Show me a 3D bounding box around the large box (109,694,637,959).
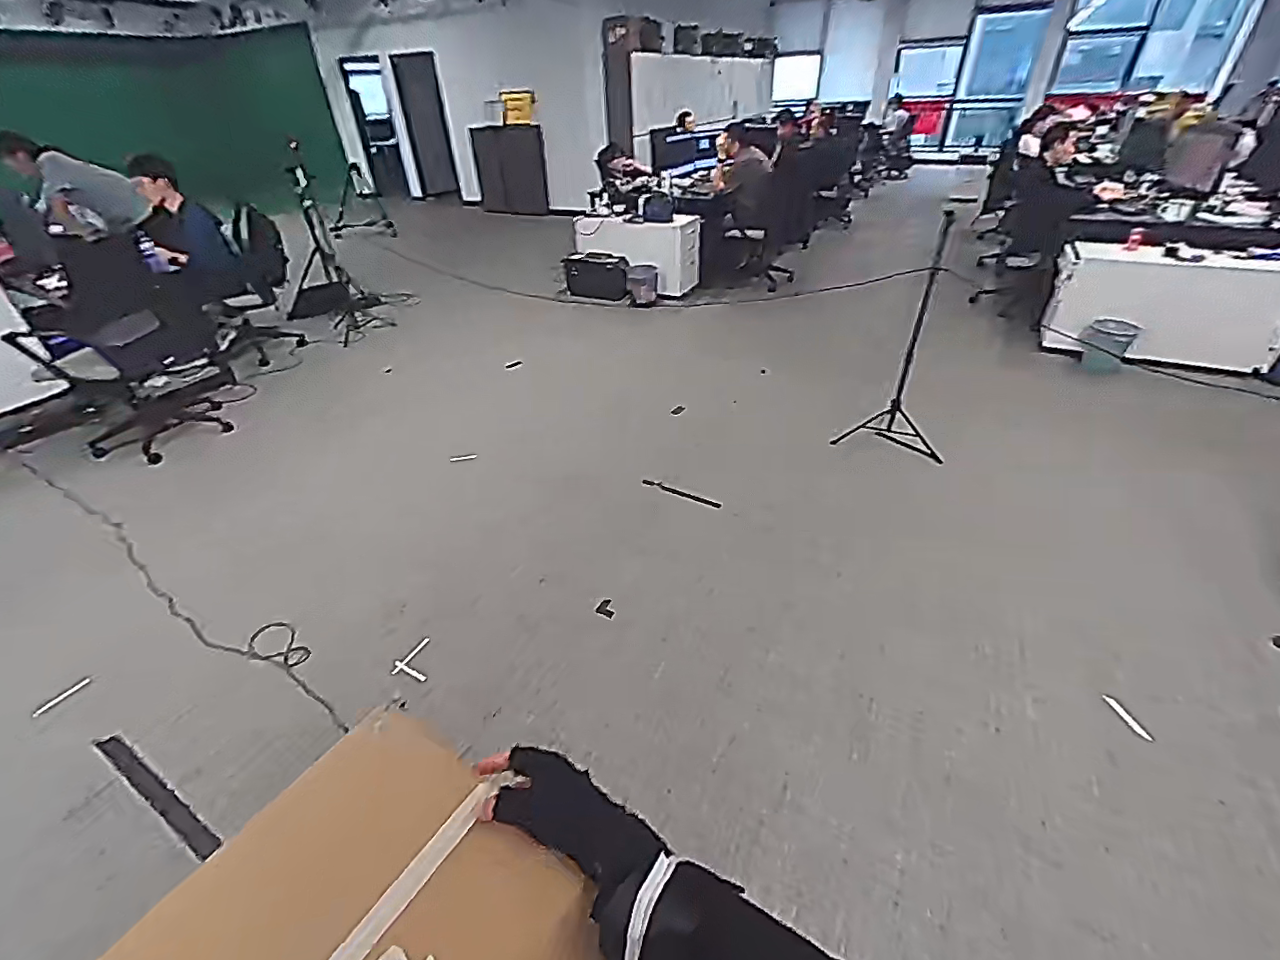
[{"bbox_3d":[-0.239,0.500,0.478,0.320,0.320,0.408,25,47,27],"label":"large box"}]
